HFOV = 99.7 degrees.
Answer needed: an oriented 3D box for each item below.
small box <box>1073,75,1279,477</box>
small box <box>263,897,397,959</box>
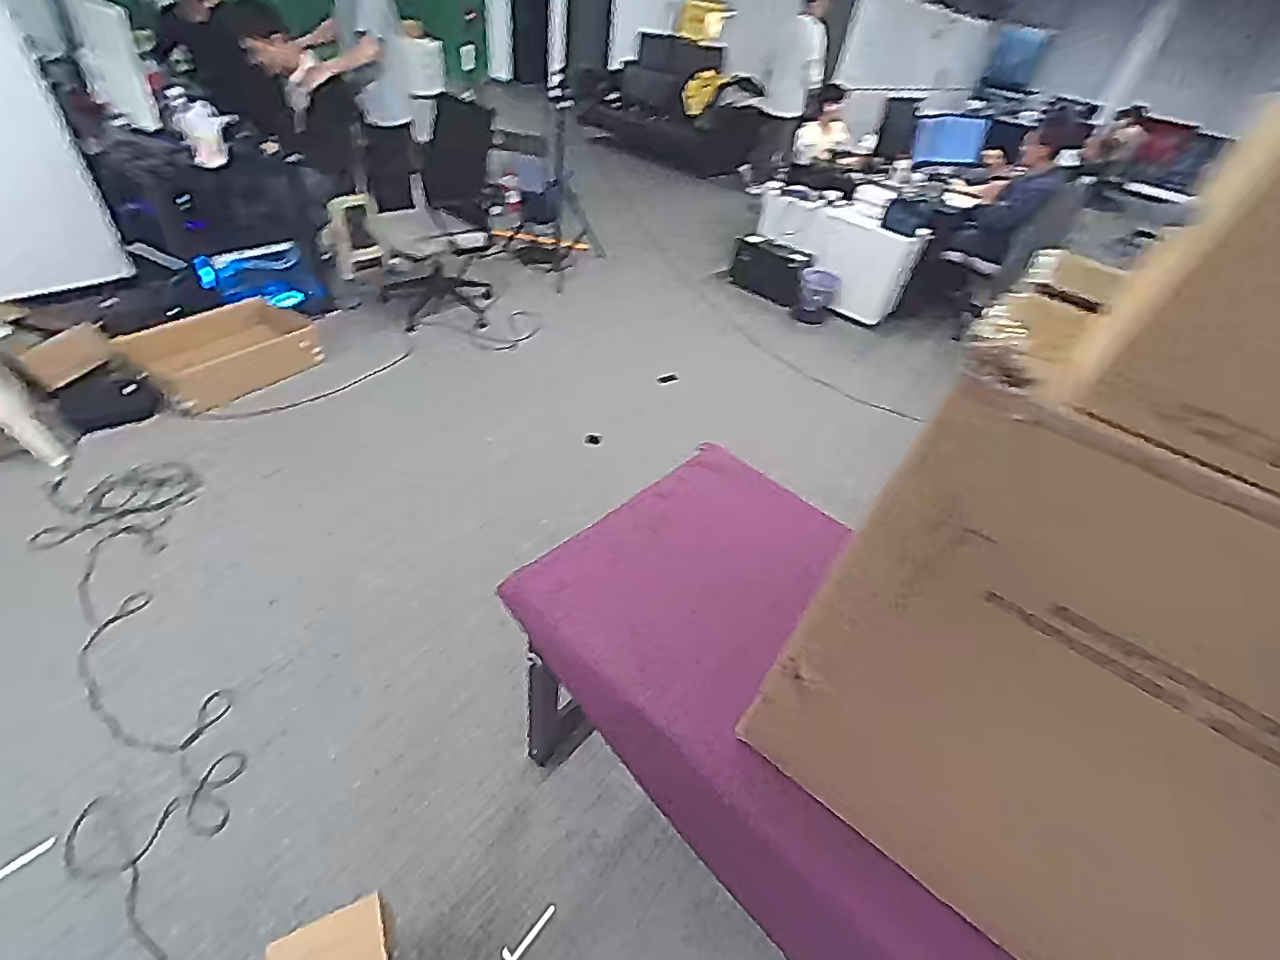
[{"bbox_3d":[0.398,-0.116,0.315,0.168,0.176,0.179,33,46,22],"label":"small box"},{"bbox_3d":[-0.489,0.830,0.875,0.168,0.176,0.179,-13,46,-26],"label":"small box"}]
